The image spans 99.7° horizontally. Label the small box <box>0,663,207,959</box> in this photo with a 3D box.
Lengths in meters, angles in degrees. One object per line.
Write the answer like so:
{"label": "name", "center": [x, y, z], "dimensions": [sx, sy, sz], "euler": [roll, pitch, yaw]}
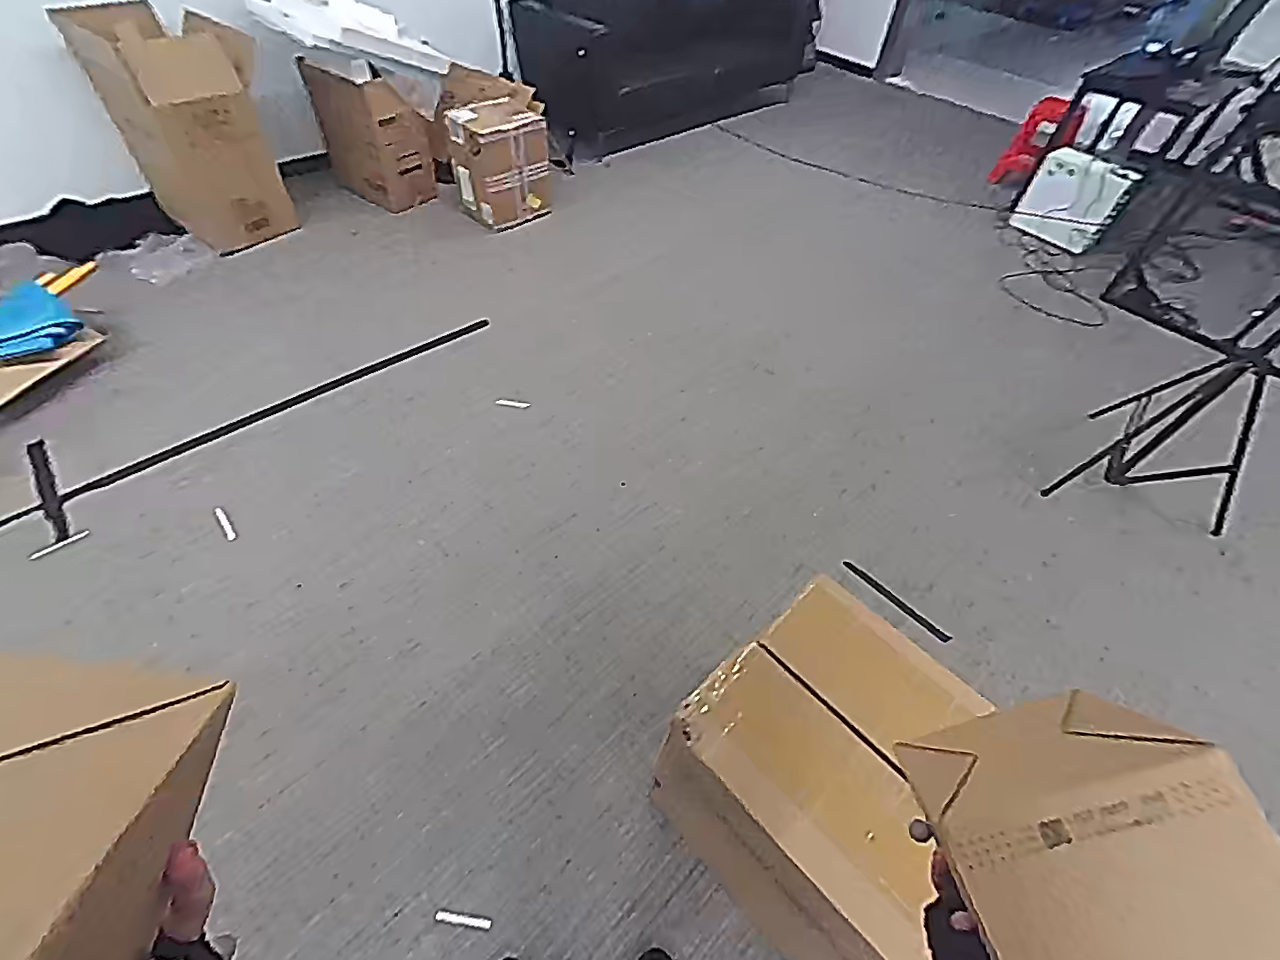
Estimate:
{"label": "small box", "center": [-0.248, 0.151, 0.132], "dimensions": [0.168, 0.179, 0.176], "euler": [15, 87, -23]}

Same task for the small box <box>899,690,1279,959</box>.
{"label": "small box", "center": [0.305, 0.263, 0.375], "dimensions": [0.168, 0.179, 0.176], "euler": [-25, 76, 12]}
